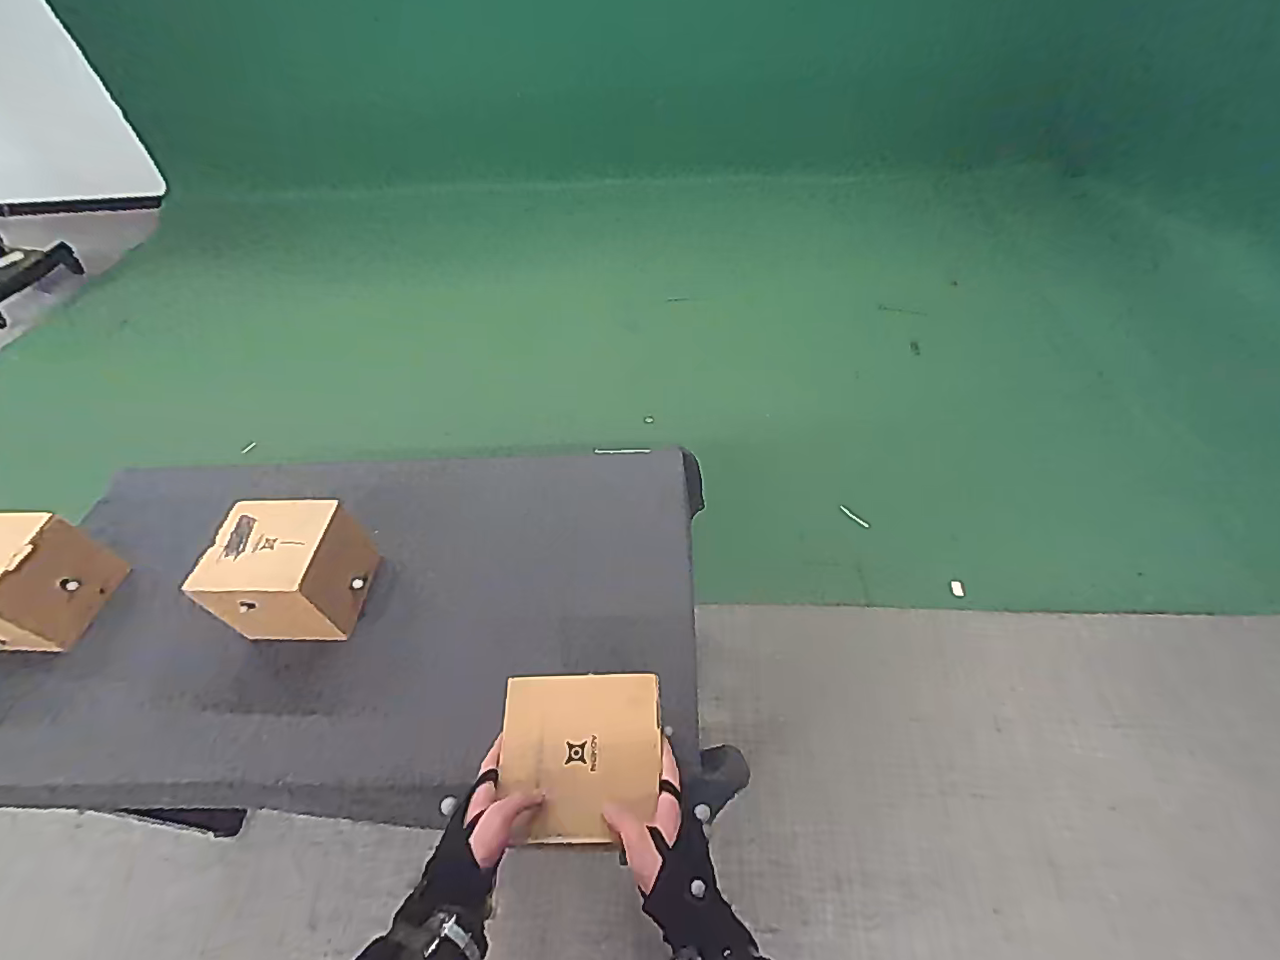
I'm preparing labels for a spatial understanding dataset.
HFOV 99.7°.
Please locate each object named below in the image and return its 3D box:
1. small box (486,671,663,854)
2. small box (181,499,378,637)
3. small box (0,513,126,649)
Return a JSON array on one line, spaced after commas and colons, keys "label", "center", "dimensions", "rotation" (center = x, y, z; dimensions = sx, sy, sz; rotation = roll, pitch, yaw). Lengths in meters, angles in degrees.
[{"label": "small box", "center": [-0.063, 0.337, 0.639], "dimensions": [0.179, 0.176, 0.168], "rotation": [-4, 52, 2]}, {"label": "small box", "center": [-0.568, 0.146, 0.881], "dimensions": [0.179, 0.176, 0.168], "rotation": [0, 51, 3]}, {"label": "small box", "center": [-1.034, 0.169, 0.896], "dimensions": [0.179, 0.176, 0.168], "rotation": [1, 50, 4]}]
